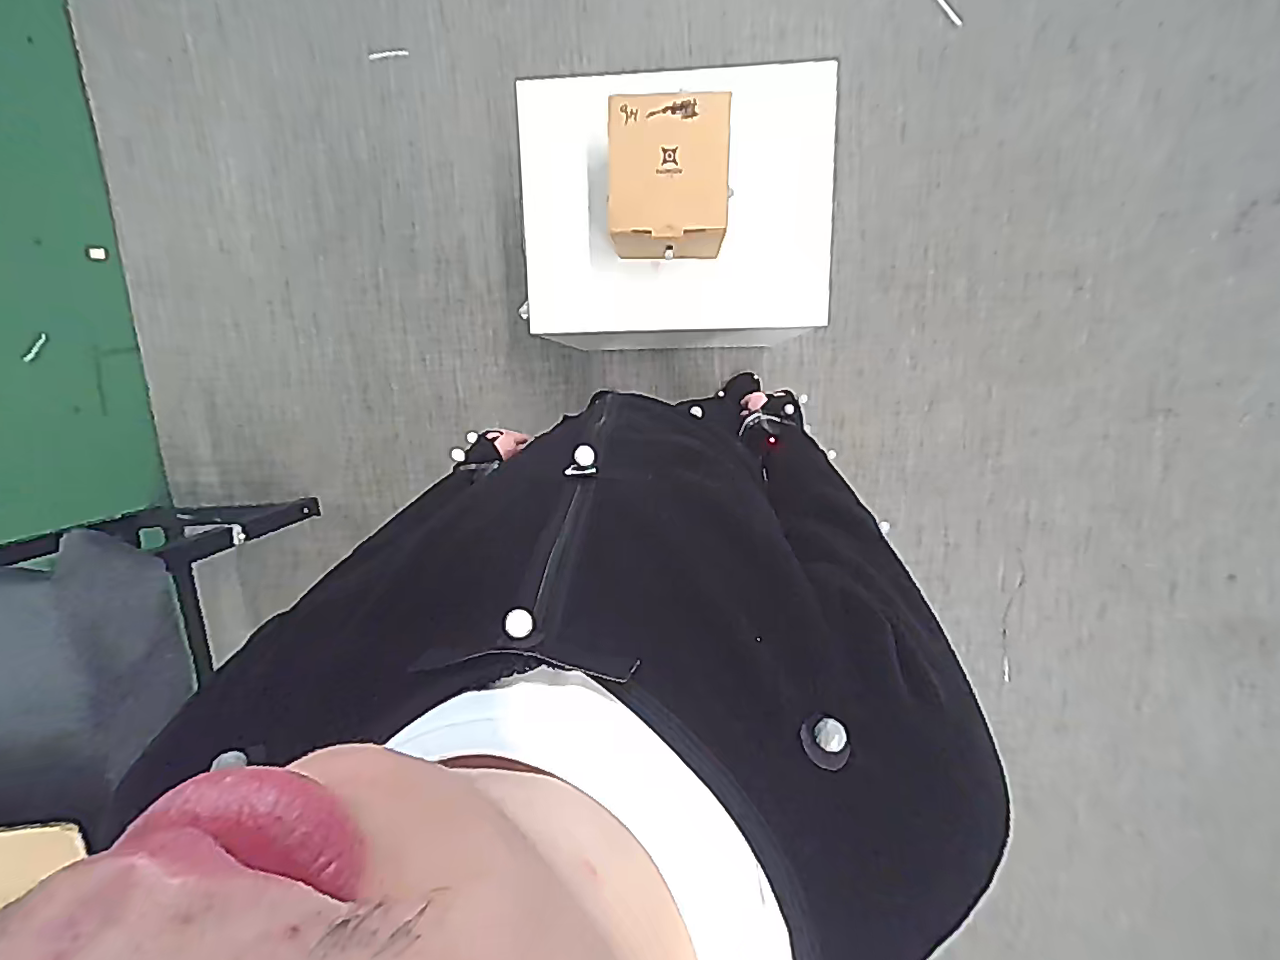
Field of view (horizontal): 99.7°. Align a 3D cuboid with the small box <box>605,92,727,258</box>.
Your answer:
[{"bbox_3d":[0.042,-0.439,0.811,0.168,0.176,0.179,-1,100,4],"label":"small box"}]
